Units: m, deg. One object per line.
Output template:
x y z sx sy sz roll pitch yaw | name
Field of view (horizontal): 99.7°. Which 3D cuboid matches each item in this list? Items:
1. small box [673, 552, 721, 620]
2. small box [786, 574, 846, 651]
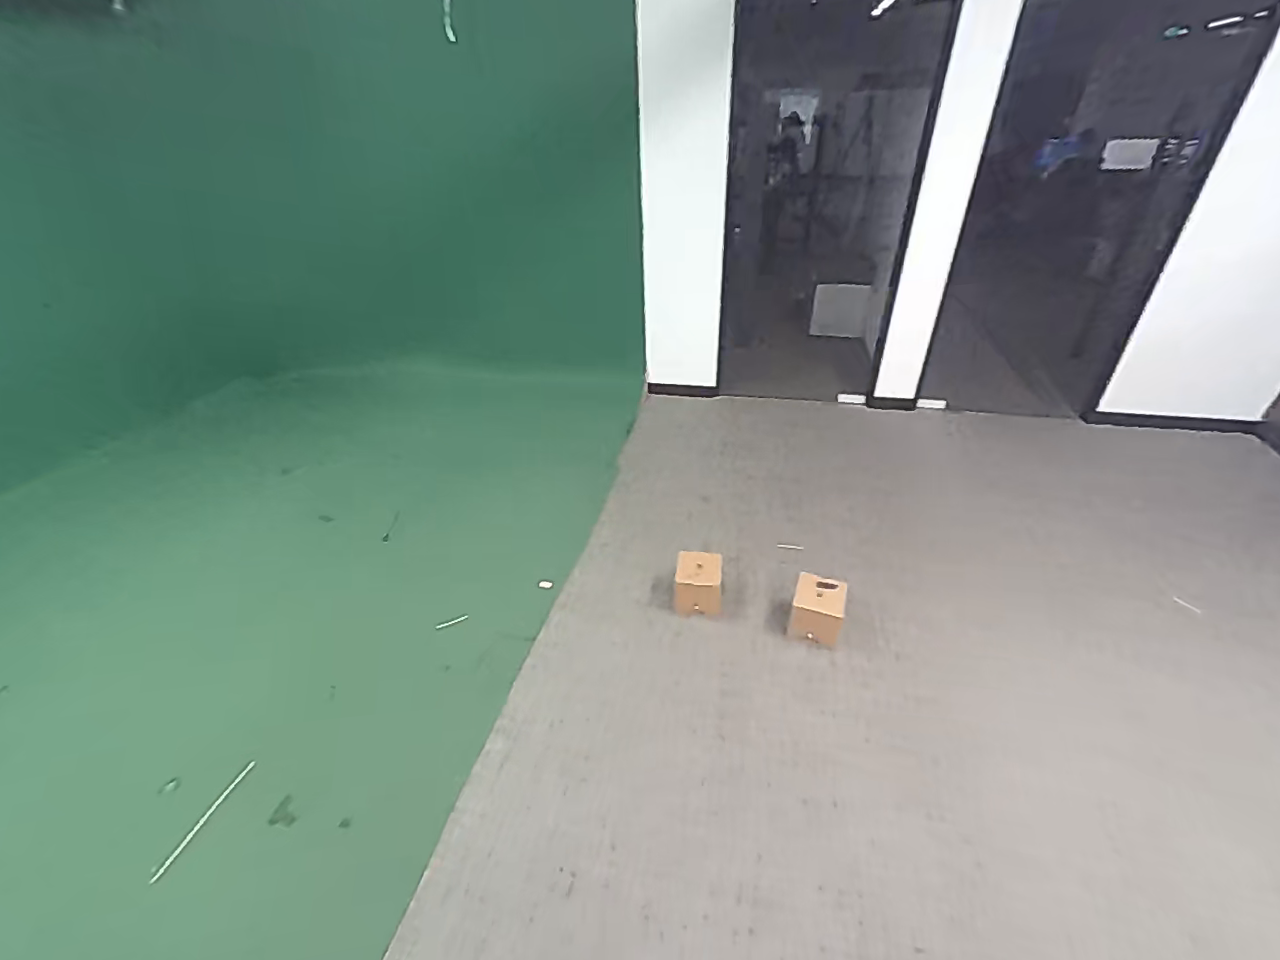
0.212 0.395 2.023 0.168 0.176 0.179 4 33 8 | small box
0.616 0.465 1.899 0.168 0.176 0.179 12 36 20 | small box
